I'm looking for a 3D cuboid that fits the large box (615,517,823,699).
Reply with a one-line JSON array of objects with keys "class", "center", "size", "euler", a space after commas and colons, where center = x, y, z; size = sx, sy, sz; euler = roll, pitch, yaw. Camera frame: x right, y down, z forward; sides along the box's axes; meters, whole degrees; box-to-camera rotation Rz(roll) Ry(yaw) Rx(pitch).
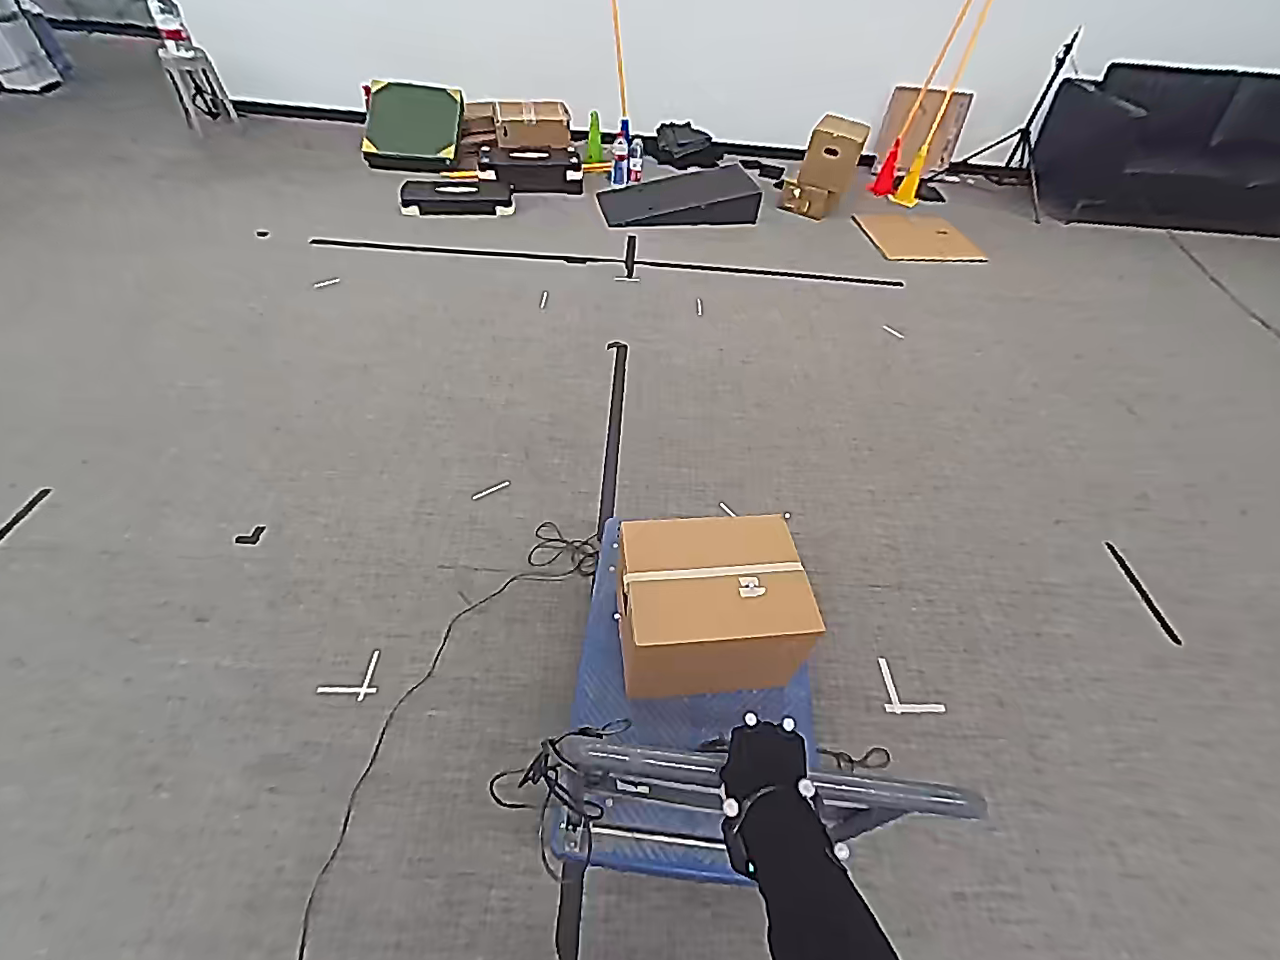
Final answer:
[{"class": "large box", "center": [0.159, 0.309, 1.312], "size": [0.408, 0.320, 0.320], "euler": [-1, 49, -8]}]
